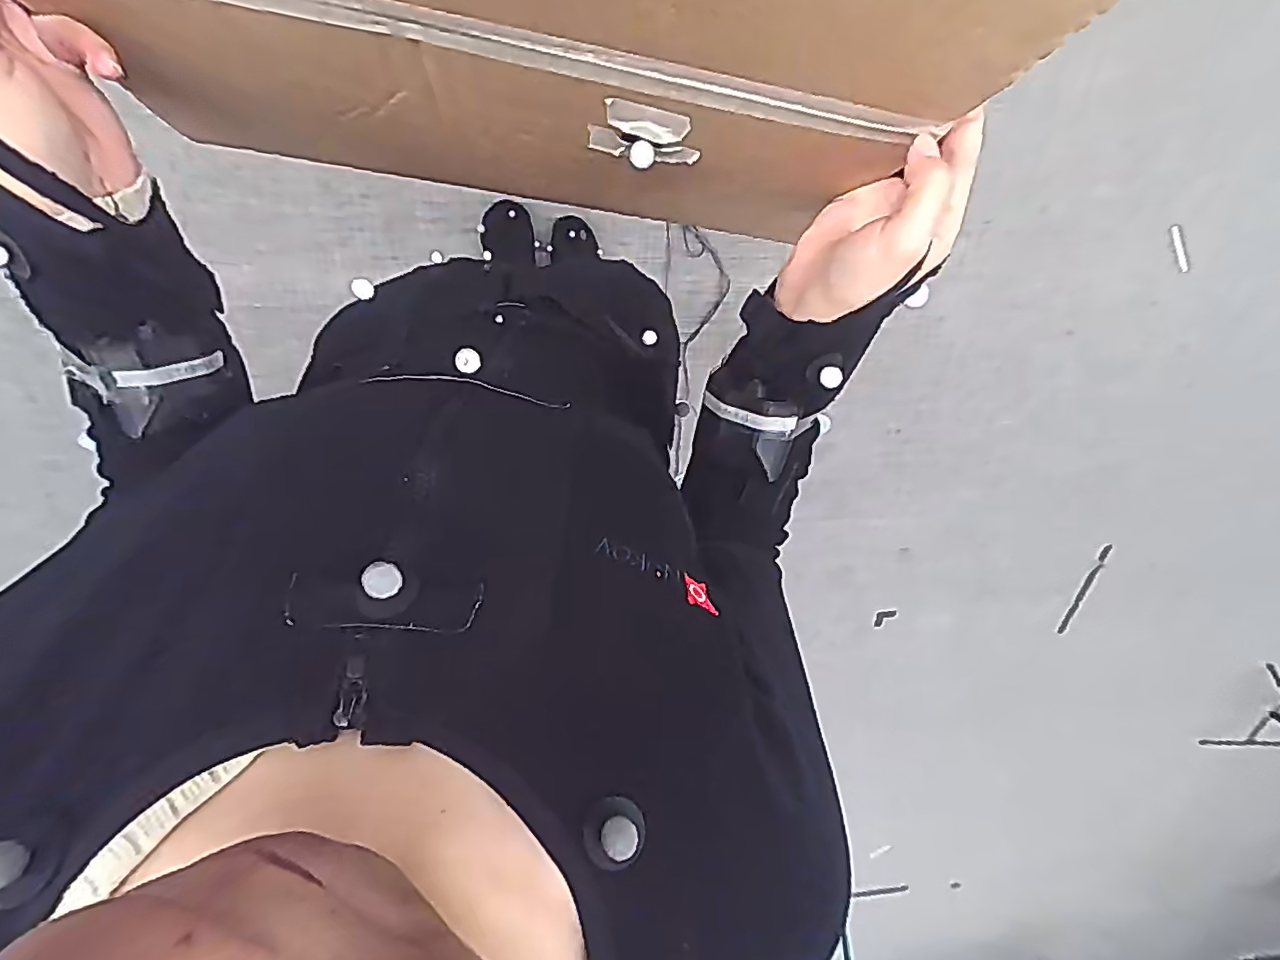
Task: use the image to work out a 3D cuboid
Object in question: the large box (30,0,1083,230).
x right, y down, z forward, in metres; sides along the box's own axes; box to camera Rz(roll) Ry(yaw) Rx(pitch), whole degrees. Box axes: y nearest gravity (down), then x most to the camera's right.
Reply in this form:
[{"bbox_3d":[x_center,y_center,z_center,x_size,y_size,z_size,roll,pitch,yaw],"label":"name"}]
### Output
[{"bbox_3d":[-0.043,-0.337,0.212,0.408,0.320,0.320,4,96,-10],"label":"large box"}]
